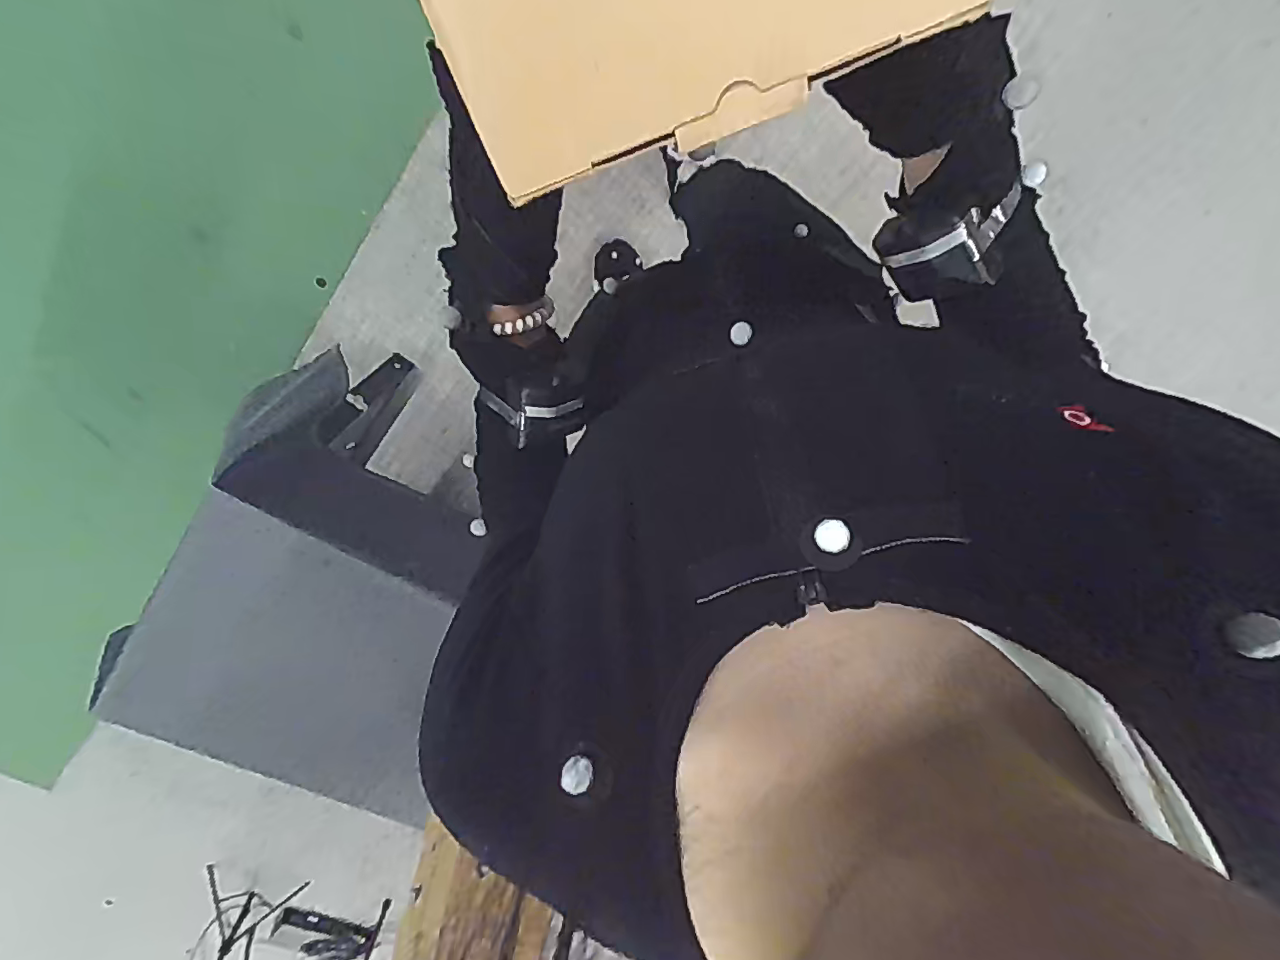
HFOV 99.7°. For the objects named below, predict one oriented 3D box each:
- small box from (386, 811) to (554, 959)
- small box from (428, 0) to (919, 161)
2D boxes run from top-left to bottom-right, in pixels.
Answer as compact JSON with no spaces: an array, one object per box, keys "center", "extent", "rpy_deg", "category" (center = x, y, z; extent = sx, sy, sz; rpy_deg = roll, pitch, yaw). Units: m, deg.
[{"center":[-0.254,0.650,0.837],"extent":[0.179,0.176,0.168],"rpy_deg":[34,113,-19],"category":"small box"},{"center":[-0.004,-0.243,0.193],"extent":[0.168,0.176,0.179],"rpy_deg":[-18,123,7],"category":"small box"}]
